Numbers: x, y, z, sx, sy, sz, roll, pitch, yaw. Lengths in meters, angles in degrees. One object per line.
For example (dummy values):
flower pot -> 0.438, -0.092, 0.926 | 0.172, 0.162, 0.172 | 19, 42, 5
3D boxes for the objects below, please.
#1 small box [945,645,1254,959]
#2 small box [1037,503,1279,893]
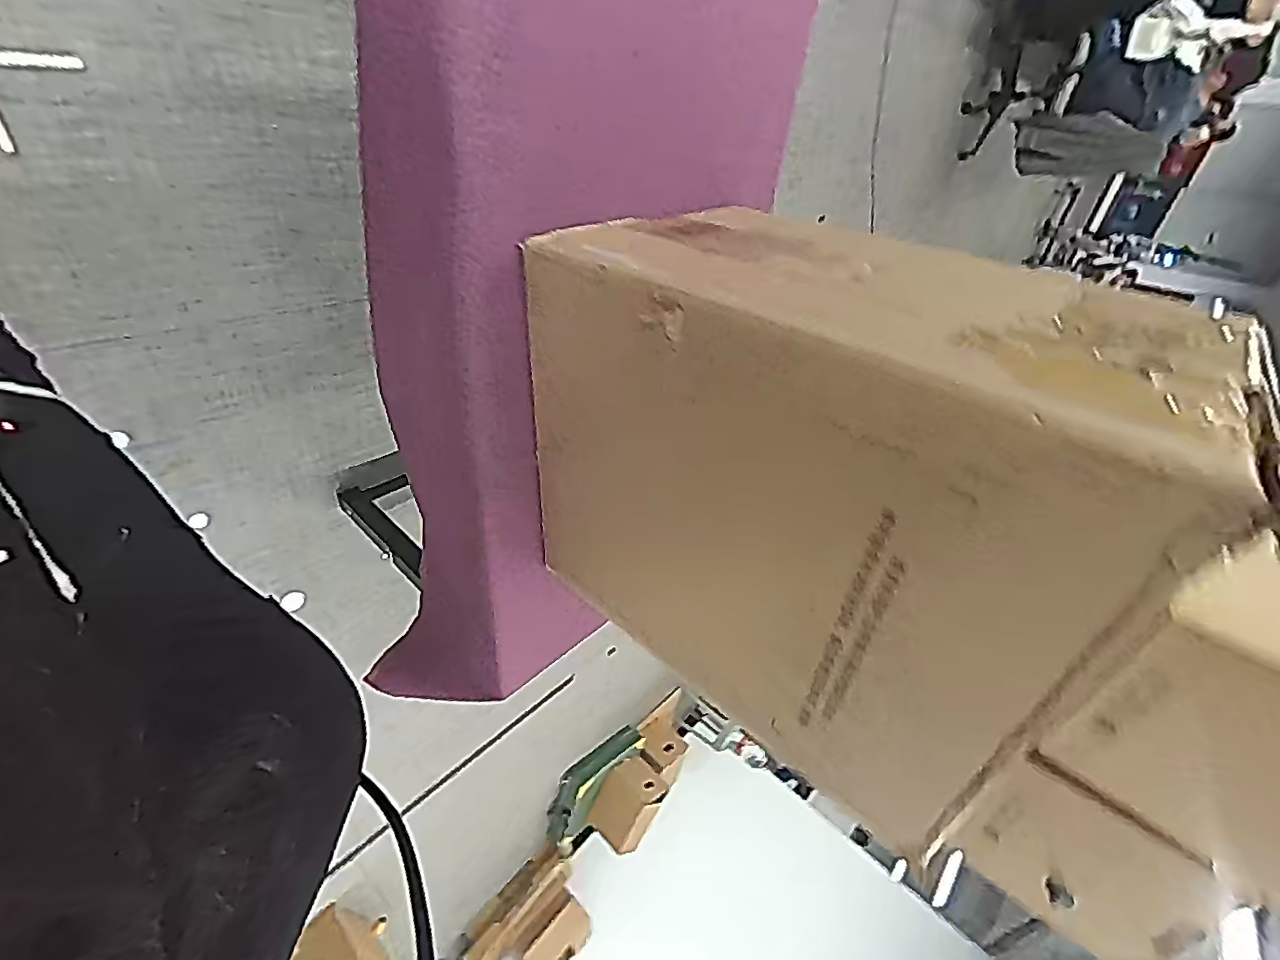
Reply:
small box -> 0.431, 0.304, 0.533 | 0.179, 0.176, 0.168 | -28, 137, -43
small box -> 0.431, 0.144, 0.393 | 0.179, 0.176, 0.168 | -32, 140, -40
